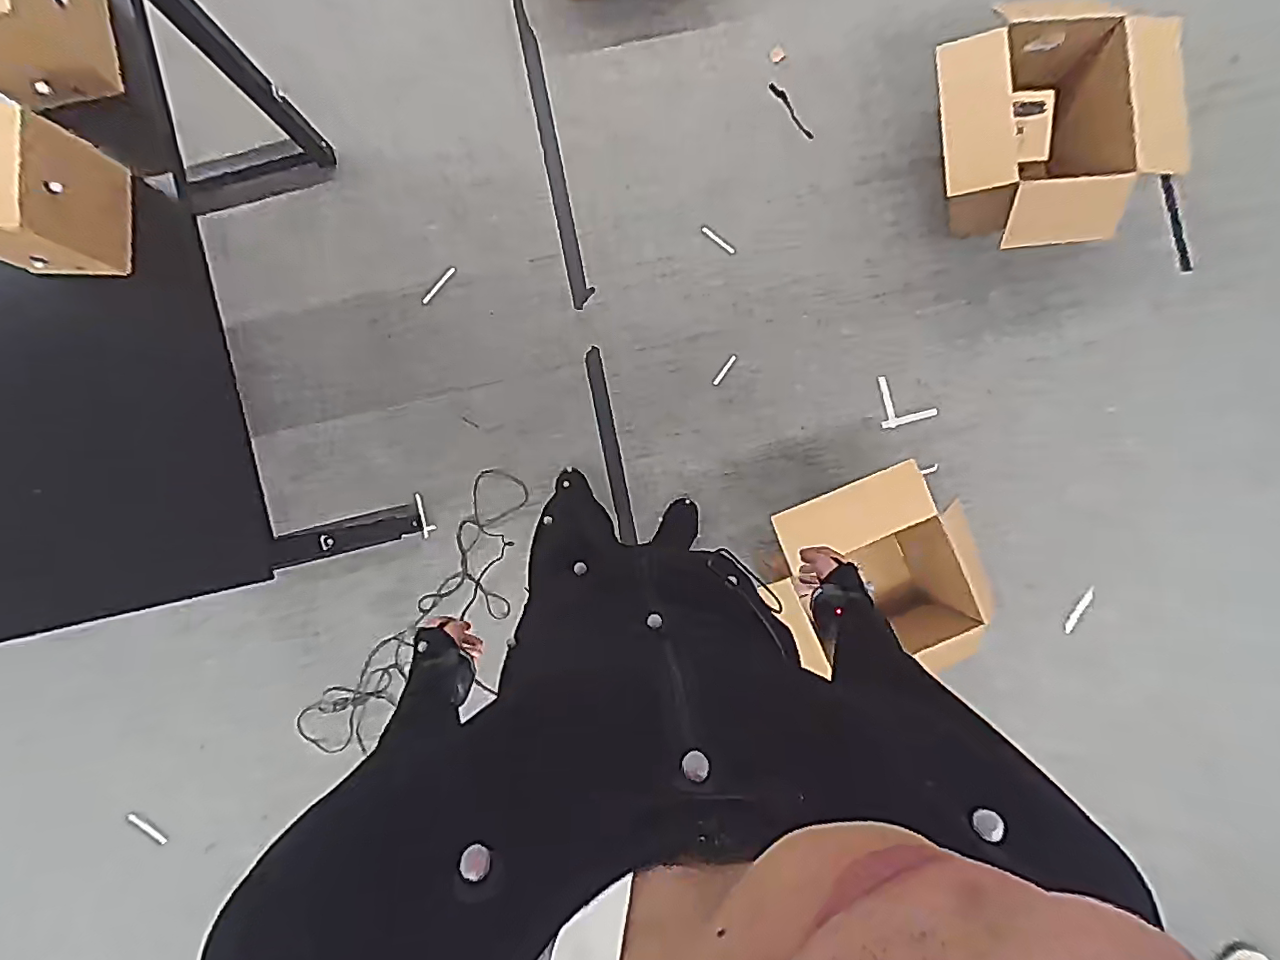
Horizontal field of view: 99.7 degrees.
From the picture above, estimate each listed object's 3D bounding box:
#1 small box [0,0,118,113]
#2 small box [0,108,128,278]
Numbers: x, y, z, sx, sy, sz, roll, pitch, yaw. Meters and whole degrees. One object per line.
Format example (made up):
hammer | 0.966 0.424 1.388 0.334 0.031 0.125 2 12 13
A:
small box | -0.959 -0.706 0.817 0.168 0.176 0.179 -11 92 1
small box | -0.934 -0.426 0.822 0.168 0.176 0.179 0 91 1
